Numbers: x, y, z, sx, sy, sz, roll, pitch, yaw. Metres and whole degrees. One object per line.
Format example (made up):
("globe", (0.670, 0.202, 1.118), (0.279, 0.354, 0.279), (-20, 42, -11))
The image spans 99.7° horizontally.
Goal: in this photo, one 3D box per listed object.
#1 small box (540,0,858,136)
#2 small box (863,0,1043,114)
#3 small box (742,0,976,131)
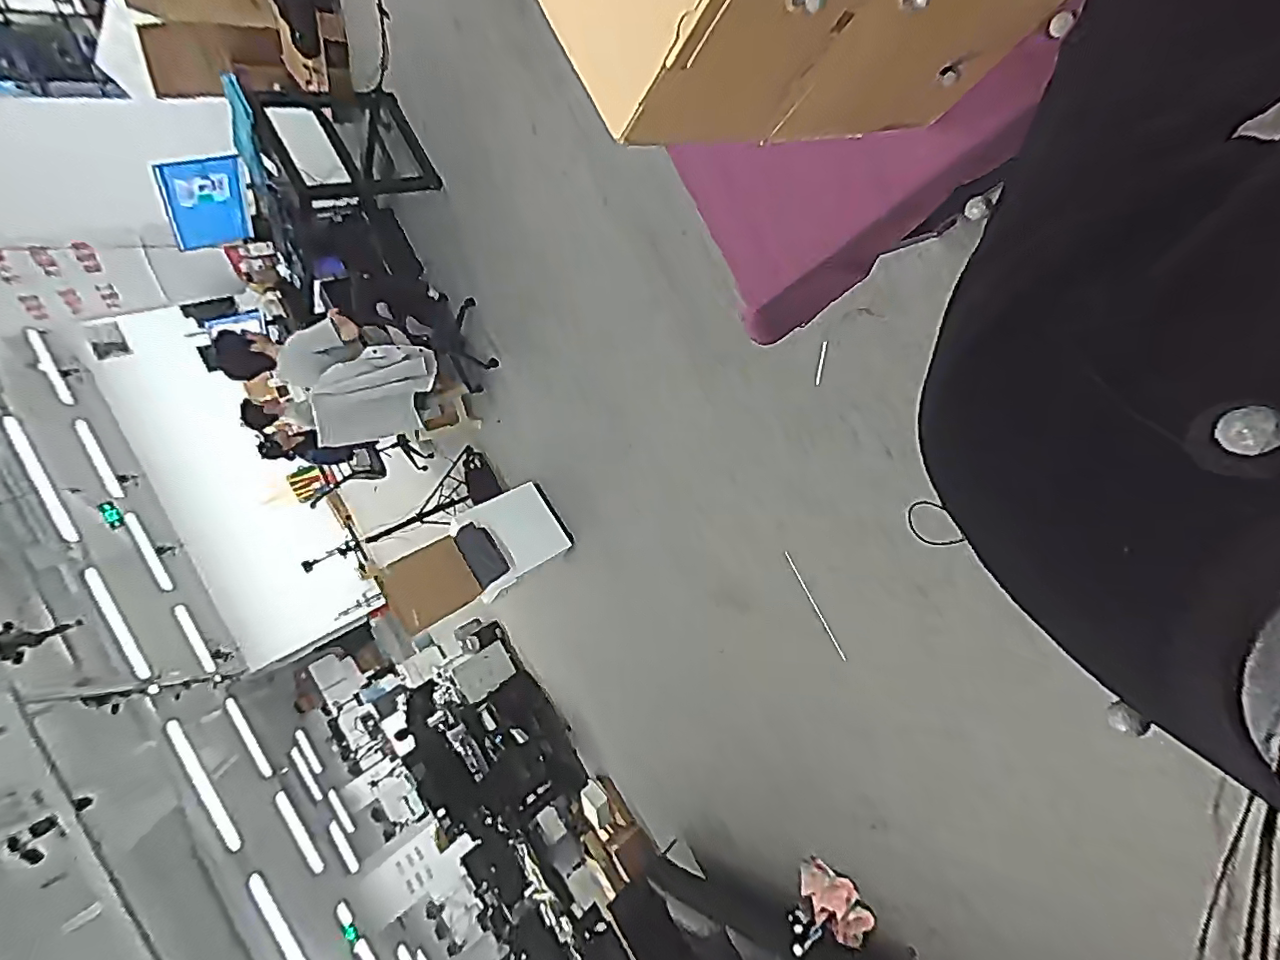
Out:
("small box", (0.042, -0.368, 0.357), (0.168, 0.176, 0.179), (-28, 89, 54))
("small box", (0.278, -0.498, 0.539), (0.168, 0.176, 0.179), (60, 146, 2))
("small box", (0.161, -0.427, 0.450), (0.179, 0.176, 0.168), (-32, 86, 55))
